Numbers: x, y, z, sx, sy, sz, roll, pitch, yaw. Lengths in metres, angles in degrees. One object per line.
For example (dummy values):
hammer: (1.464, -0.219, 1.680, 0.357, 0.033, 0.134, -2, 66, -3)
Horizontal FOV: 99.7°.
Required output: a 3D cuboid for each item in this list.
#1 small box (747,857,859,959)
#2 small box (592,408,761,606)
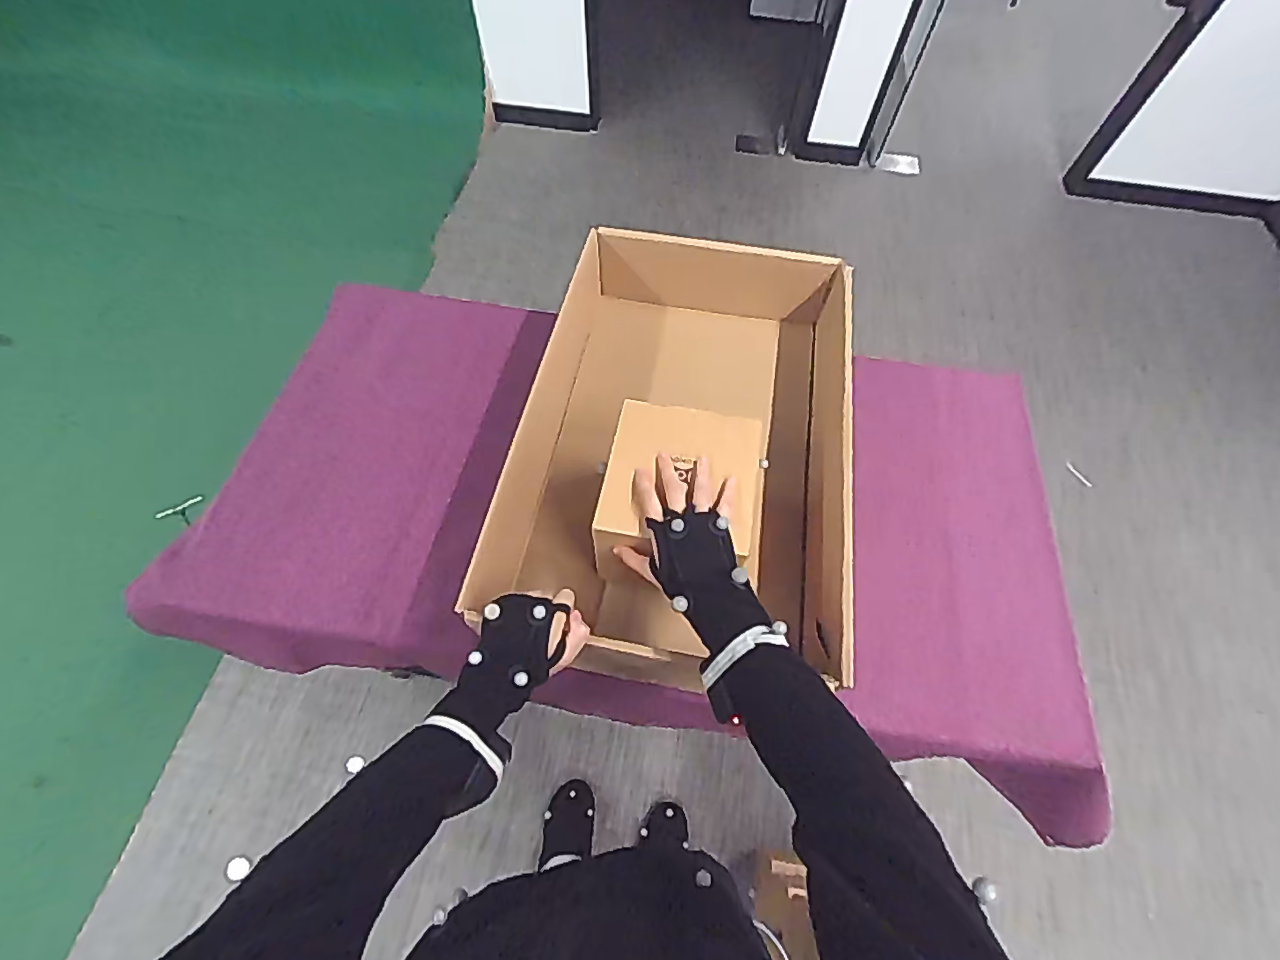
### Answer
small box: (0.325, 0.885, 1.098, 0.179, 0.176, 0.168, 8, 62, 4)
small box: (0.045, 0.040, 0.665, 0.168, 0.176, 0.179, 10, 59, 5)
